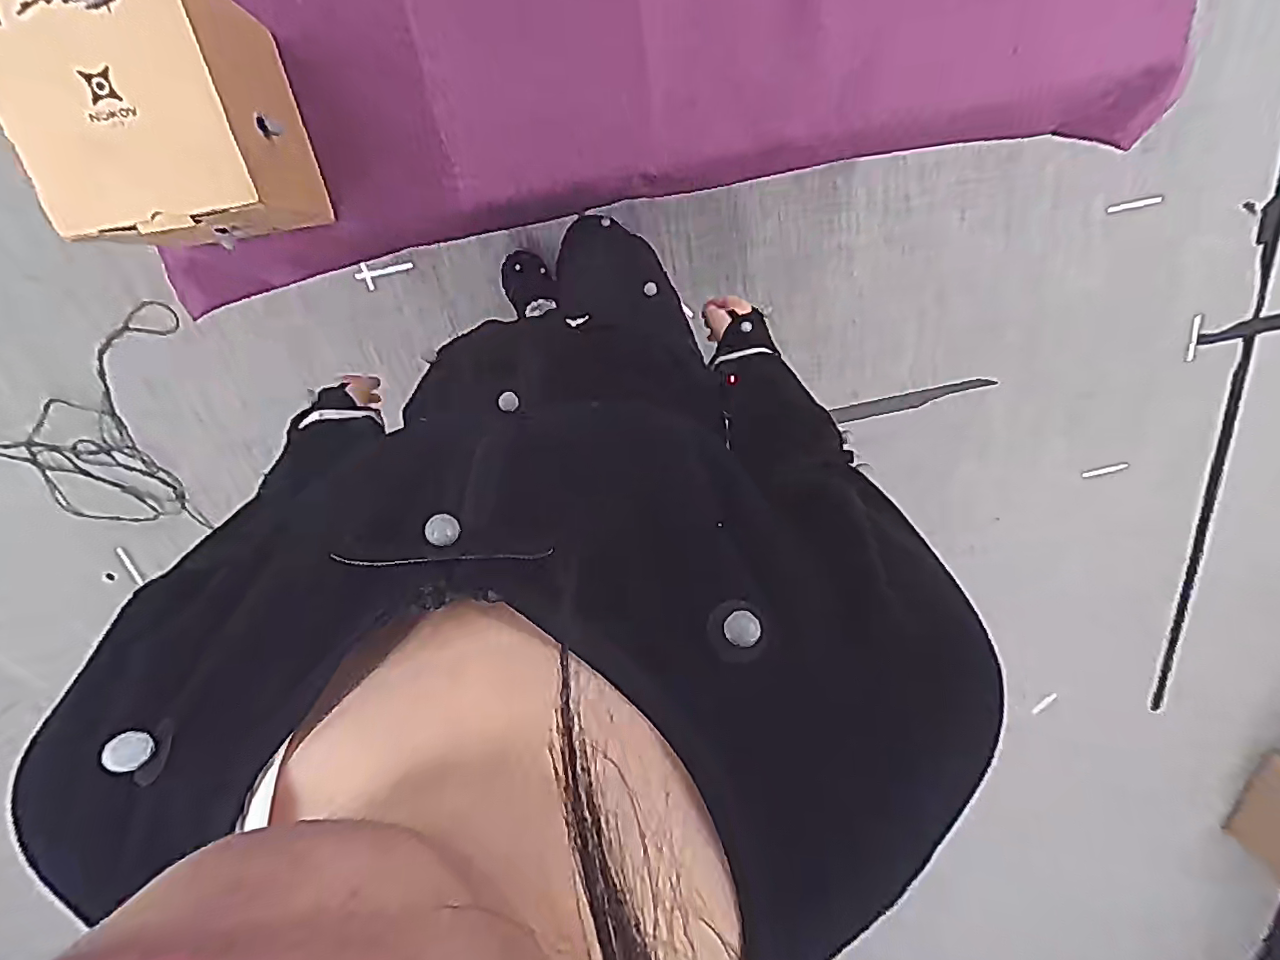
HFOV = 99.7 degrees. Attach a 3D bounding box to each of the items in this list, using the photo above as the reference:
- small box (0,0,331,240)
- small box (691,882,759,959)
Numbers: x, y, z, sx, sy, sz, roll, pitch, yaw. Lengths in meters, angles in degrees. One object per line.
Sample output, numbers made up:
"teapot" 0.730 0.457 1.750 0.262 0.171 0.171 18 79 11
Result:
"small box" -0.419 -0.325 0.493 0.168 0.176 0.179 -12 113 -4
"small box" 0.283 1.493 1.811 0.179 0.176 0.168 -13 112 -2
